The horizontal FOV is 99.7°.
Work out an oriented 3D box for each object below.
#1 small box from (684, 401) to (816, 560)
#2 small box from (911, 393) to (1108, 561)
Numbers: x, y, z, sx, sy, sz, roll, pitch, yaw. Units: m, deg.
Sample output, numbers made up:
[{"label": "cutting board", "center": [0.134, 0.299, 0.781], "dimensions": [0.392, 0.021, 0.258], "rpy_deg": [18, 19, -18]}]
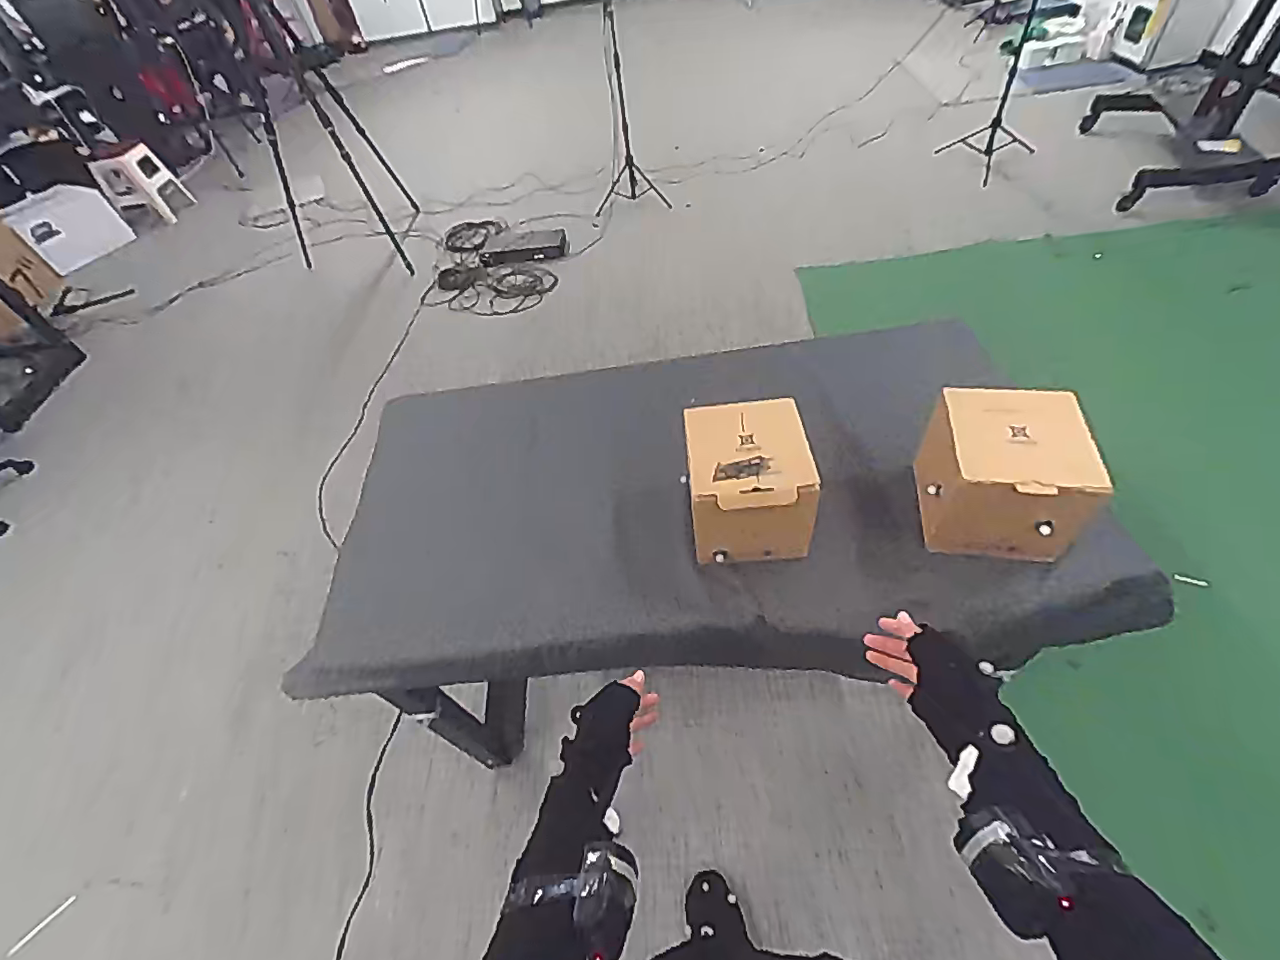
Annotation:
[{"label": "small box", "center": [0.158, 0.008, 0.815], "dimensions": [0.168, 0.176, 0.179], "rpy_deg": [-5, 49, 5]}, {"label": "small box", "center": [0.503, -0.003, 0.769], "dimensions": [0.168, 0.176, 0.179], "rpy_deg": [4, 49, 12]}]
